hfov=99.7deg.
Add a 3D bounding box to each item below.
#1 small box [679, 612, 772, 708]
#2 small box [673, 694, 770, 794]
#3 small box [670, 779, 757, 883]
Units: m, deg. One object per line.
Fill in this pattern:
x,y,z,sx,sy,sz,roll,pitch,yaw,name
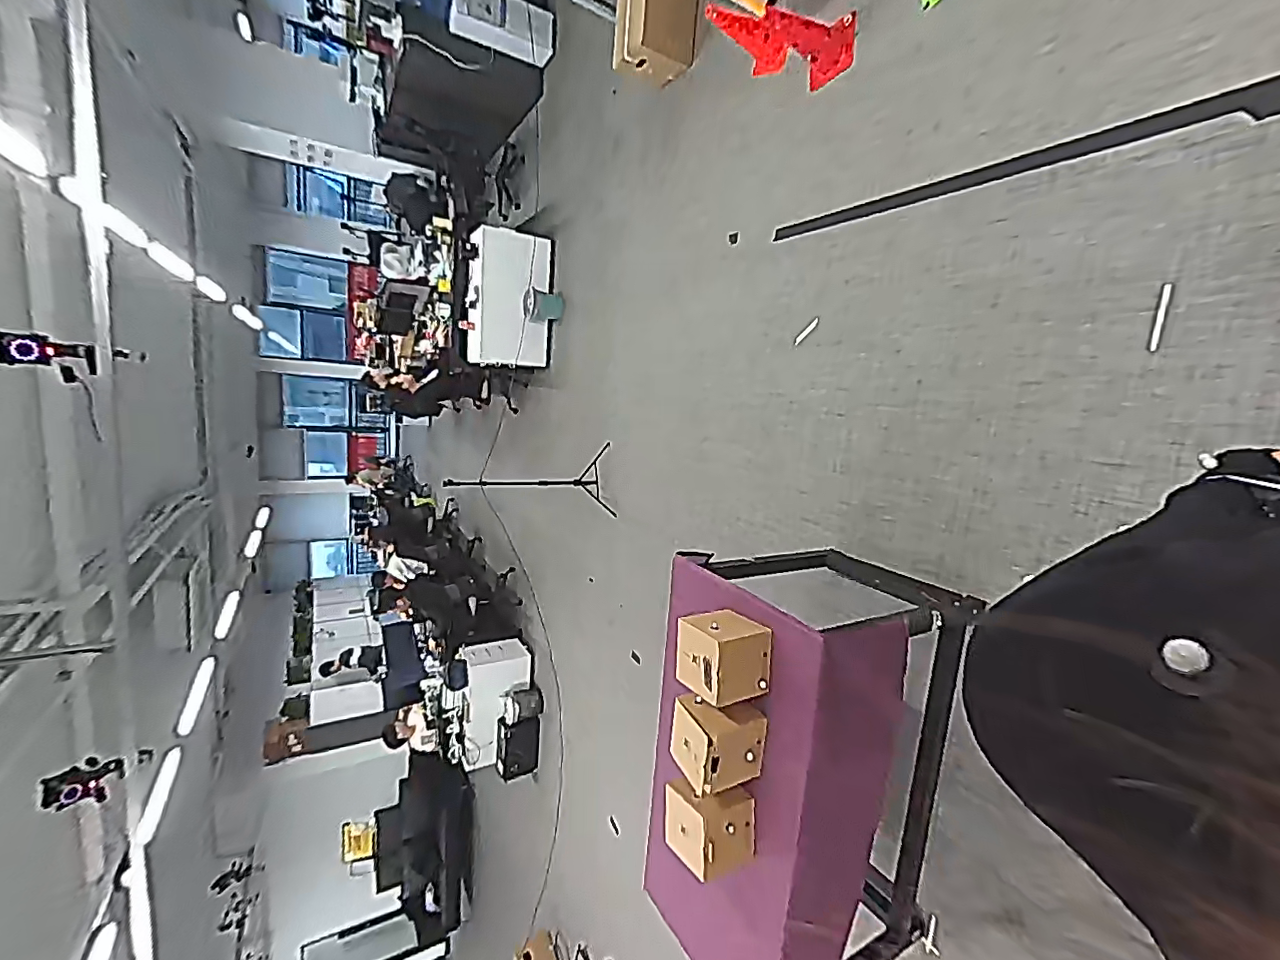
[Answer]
0.218,0.447,1.378,0.179,0.176,0.168,11,101,60,small box
0.209,0.666,1.403,0.179,0.176,0.168,21,110,57,small box
0.196,0.910,1.440,0.179,0.176,0.168,3,93,60,small box
